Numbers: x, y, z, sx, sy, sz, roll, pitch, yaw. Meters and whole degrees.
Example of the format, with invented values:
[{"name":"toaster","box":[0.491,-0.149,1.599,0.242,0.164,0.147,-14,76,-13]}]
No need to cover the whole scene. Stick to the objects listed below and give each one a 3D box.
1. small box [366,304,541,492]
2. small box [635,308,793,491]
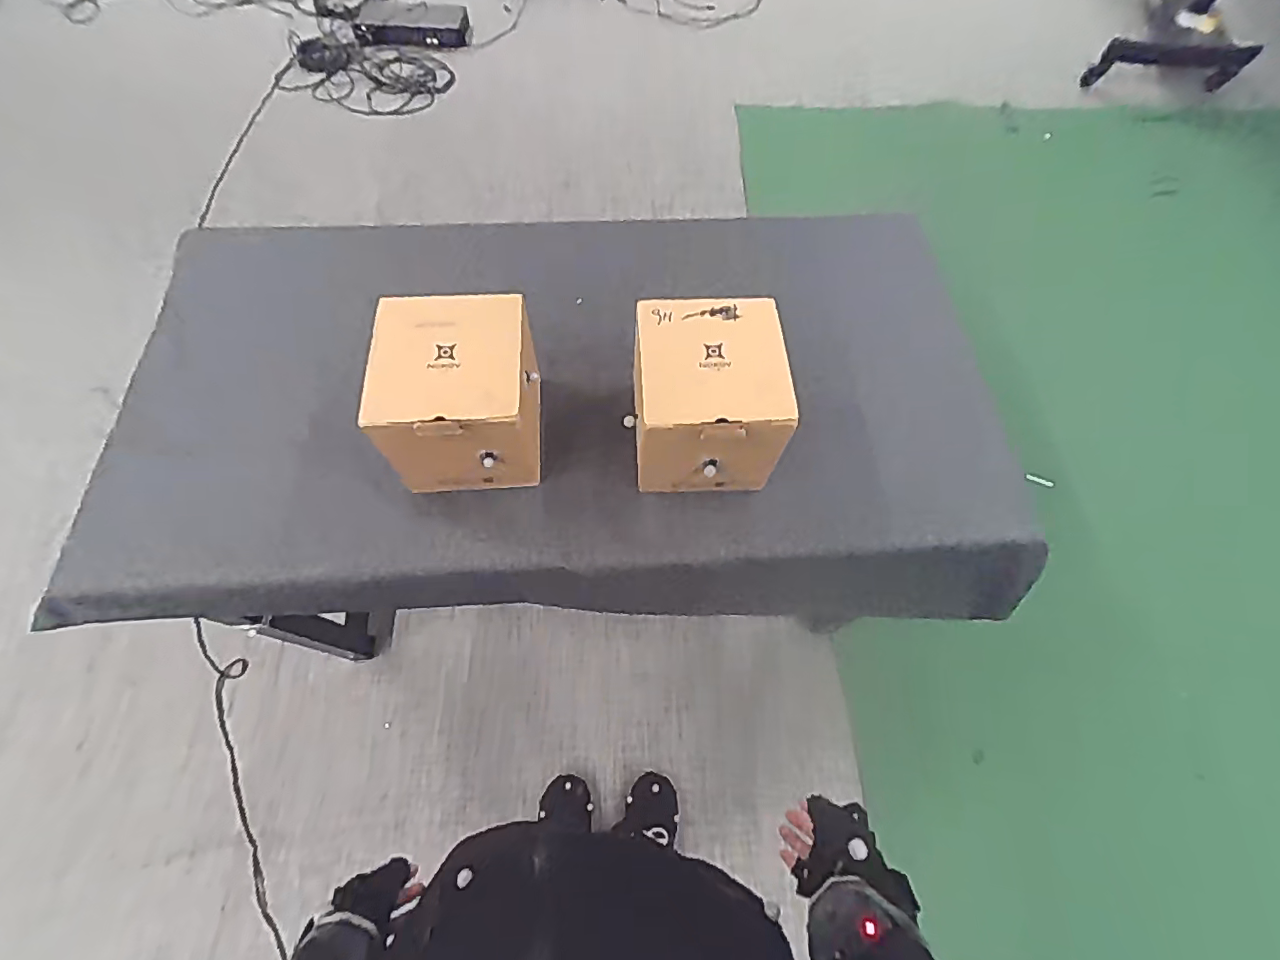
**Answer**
[{"name":"small box","box":[-0.215,-0.093,0.675,0.168,0.176,0.179,-3,62,-5]},{"name":"small box","box":[0.079,-0.092,0.683,0.168,0.176,0.179,-2,64,-3]}]
